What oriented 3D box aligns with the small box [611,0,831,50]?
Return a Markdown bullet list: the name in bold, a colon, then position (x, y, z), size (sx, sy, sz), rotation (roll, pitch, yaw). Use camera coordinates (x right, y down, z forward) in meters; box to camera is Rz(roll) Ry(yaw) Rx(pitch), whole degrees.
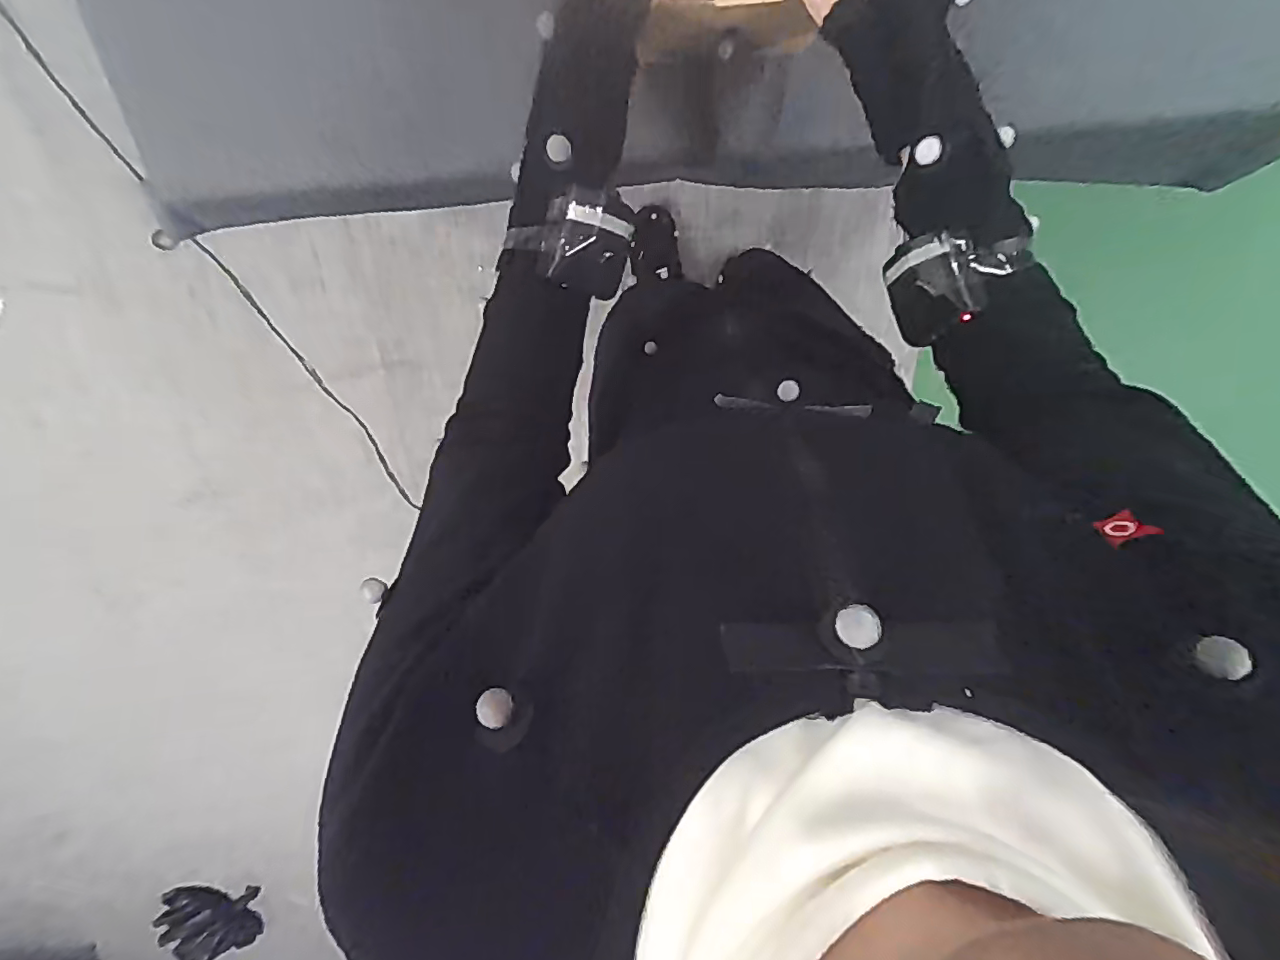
- **small box**: position (0.058, -0.423, 0.375), size (0.168, 0.176, 0.179), rotation (-4, 118, 1)
